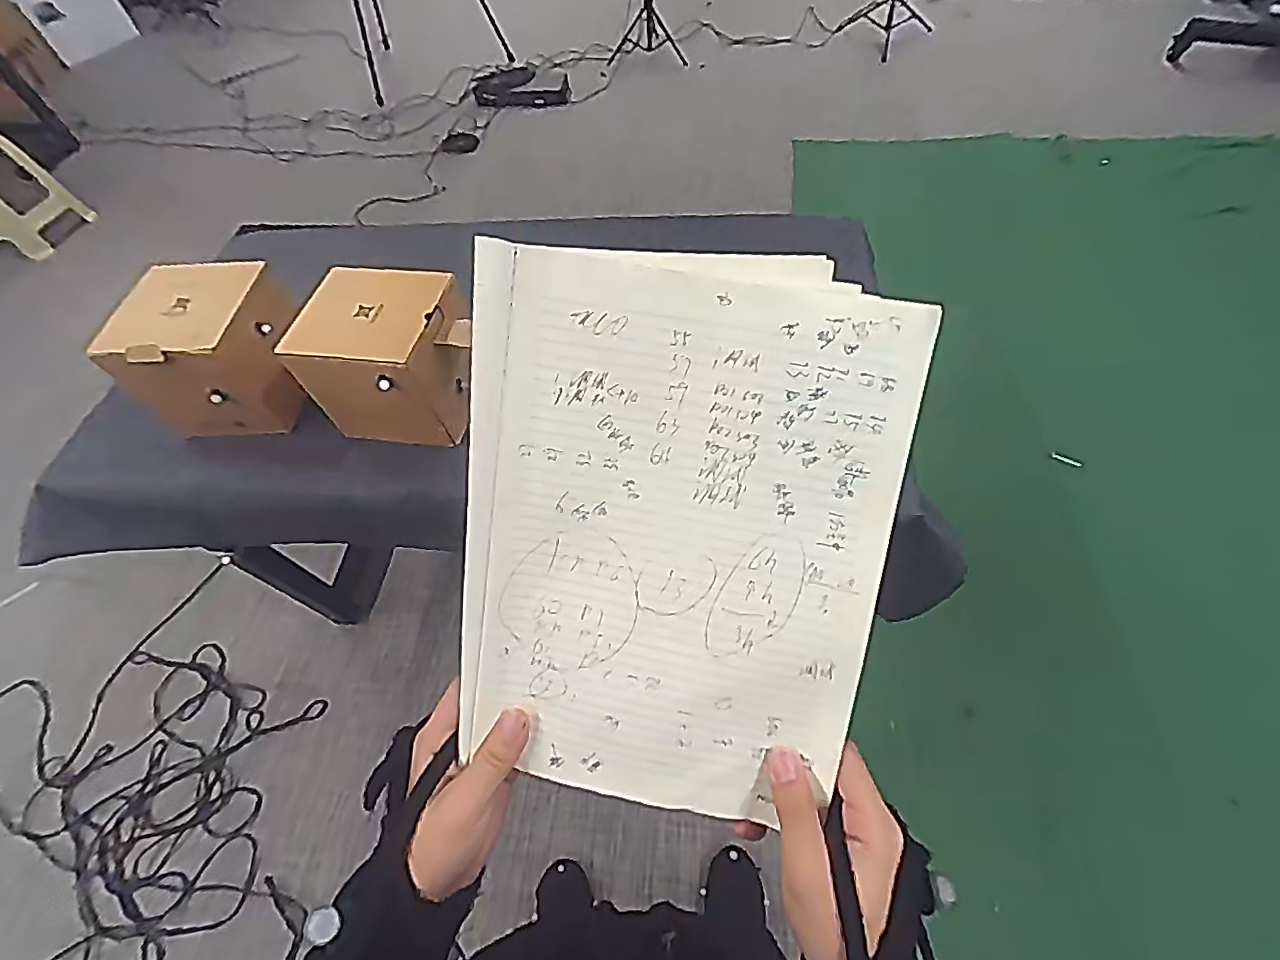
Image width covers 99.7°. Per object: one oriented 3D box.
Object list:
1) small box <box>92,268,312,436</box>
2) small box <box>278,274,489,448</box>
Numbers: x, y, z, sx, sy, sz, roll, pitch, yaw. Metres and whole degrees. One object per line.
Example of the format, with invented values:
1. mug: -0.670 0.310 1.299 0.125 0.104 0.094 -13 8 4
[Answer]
1. small box: -0.591 -0.175 0.773 0.168 0.176 0.179 -1 56 2
2. small box: -0.333 -0.160 0.744 0.179 0.176 0.168 6 57 7
